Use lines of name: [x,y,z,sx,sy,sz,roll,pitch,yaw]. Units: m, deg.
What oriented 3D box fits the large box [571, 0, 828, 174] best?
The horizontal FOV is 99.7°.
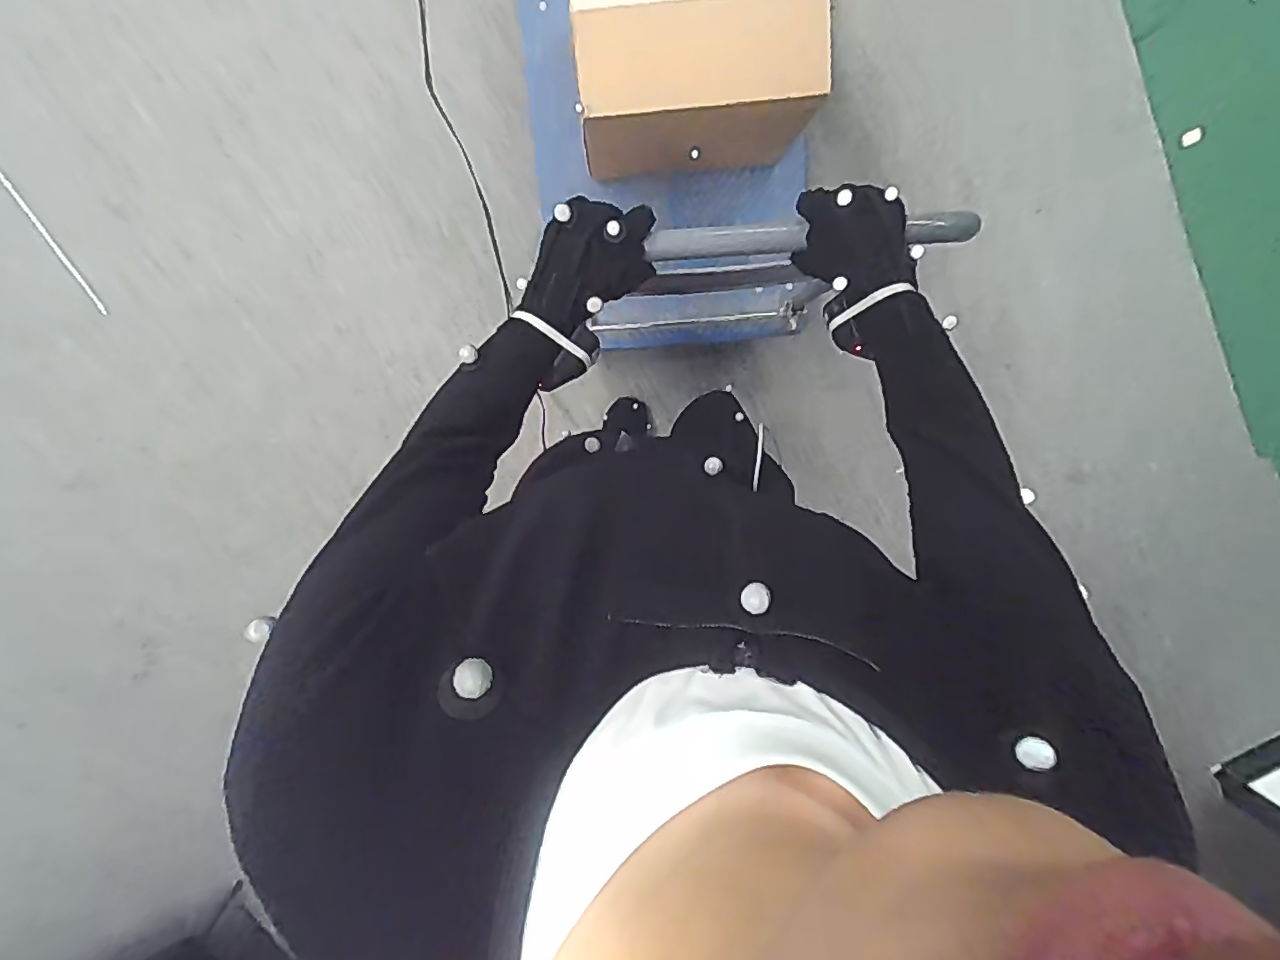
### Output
large box: [0.090,-0.793,0.988,0.408,0.320,0.320,-6,102,0]
